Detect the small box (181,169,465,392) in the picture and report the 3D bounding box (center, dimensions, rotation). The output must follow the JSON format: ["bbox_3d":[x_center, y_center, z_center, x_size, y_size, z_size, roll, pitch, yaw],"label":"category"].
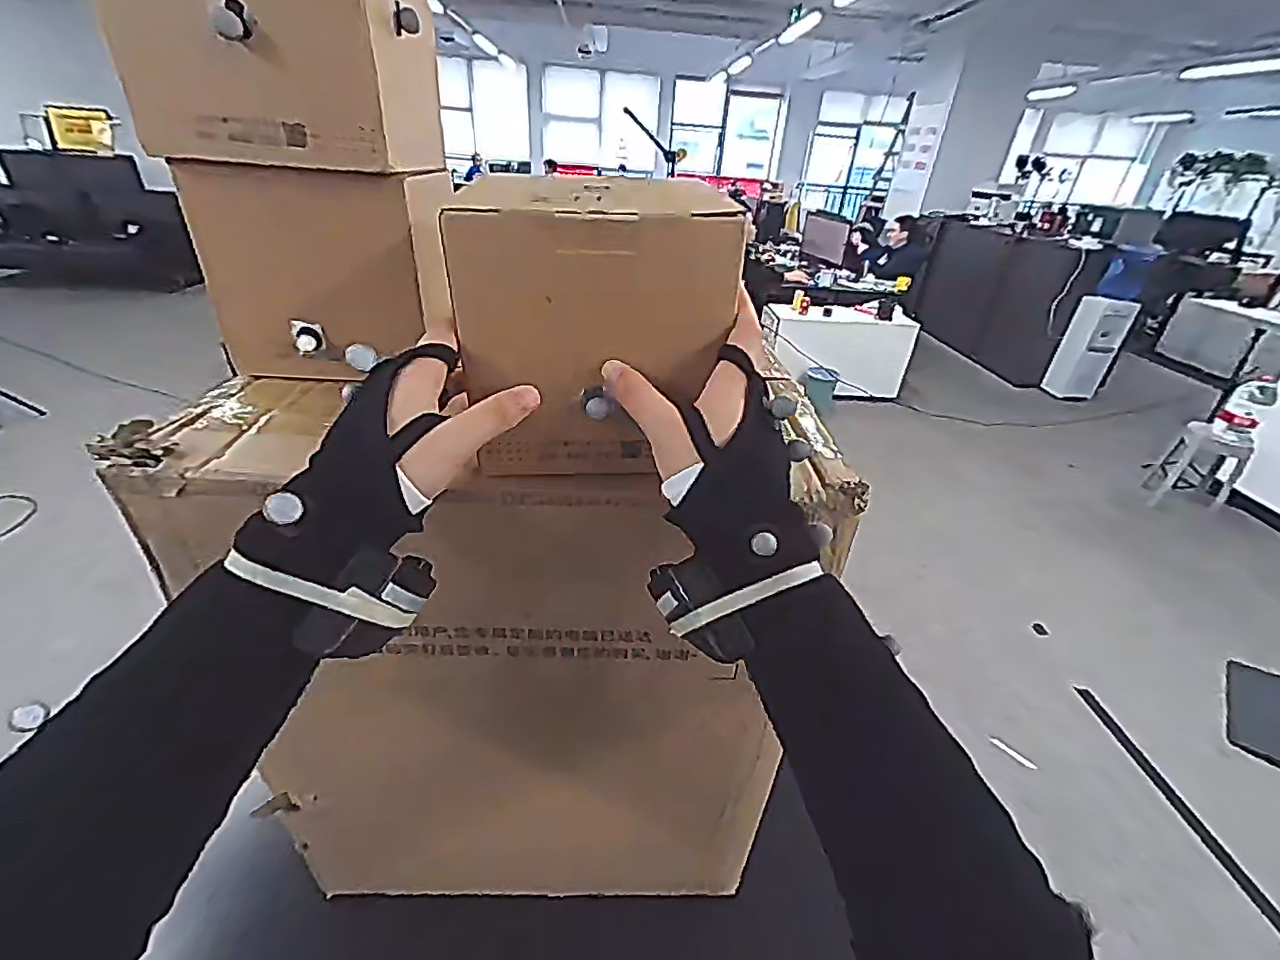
[{"bbox_3d":[-0.268,-0.194,0.513,0.168,0.176,0.179,-1,32,-7],"label":"small box"}]

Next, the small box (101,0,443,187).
[{"bbox_3d":[-0.260,-0.327,0.415,0.168,0.176,0.179,1,31,-6],"label":"small box"}]

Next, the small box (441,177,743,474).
[{"bbox_3d":[-0.032,-0.119,0.401,0.168,0.176,0.179,-2,35,-4],"label":"small box"}]
